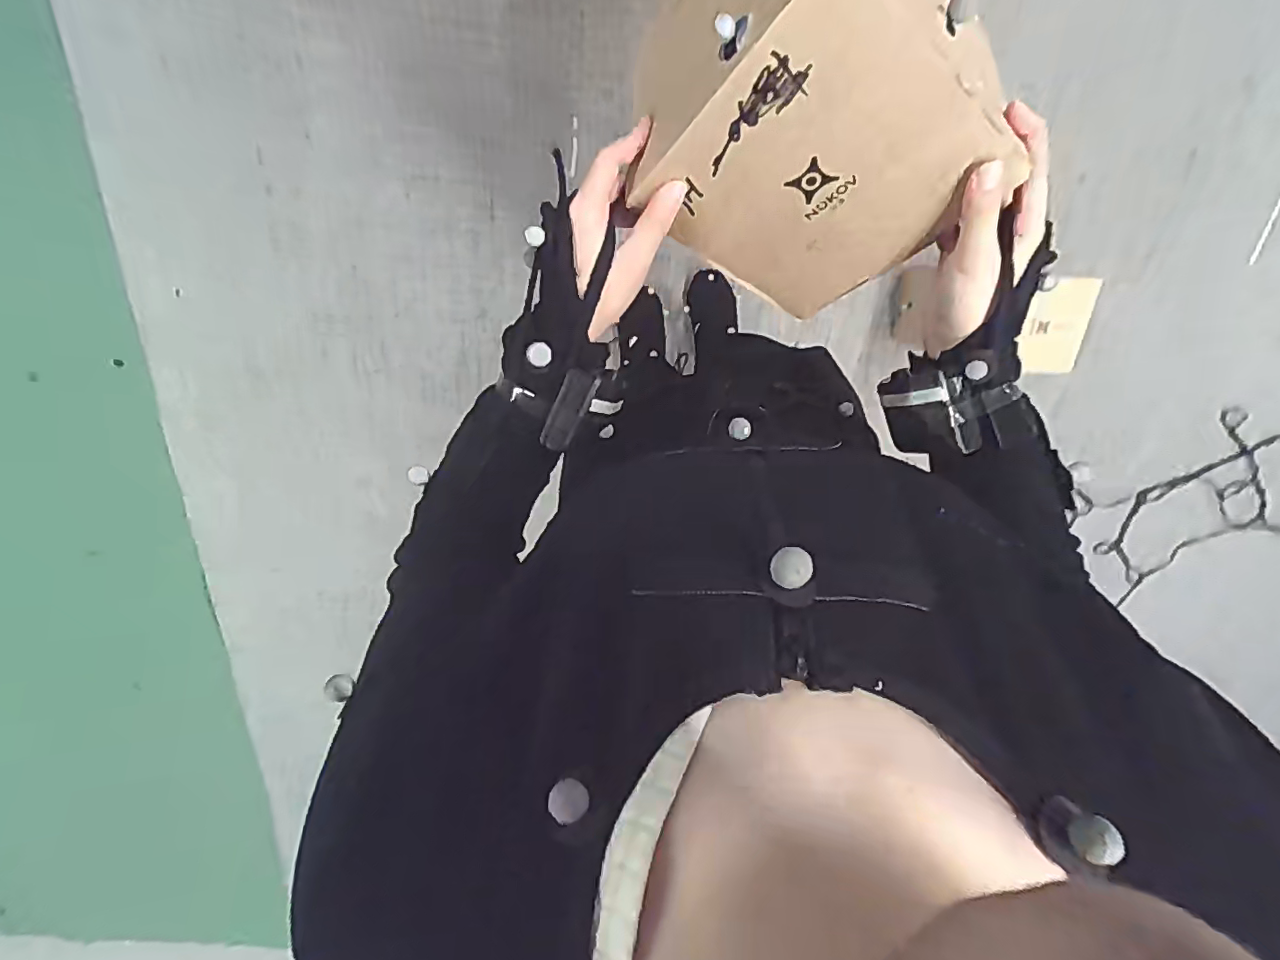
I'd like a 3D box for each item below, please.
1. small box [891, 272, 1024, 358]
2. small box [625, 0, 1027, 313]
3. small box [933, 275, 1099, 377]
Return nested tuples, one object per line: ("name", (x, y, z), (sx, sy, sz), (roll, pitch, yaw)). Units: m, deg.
("small box", (0.680, -0.362, 1.175), (0.179, 0.176, 0.168), (1, 112, -1))
("small box", (0.109, -0.250, 0.352), (0.179, 0.176, 0.168), (17, 152, -31))
("small box", (0.694, -0.296, 1.025), (0.179, 0.176, 0.168), (1, 113, -2))
